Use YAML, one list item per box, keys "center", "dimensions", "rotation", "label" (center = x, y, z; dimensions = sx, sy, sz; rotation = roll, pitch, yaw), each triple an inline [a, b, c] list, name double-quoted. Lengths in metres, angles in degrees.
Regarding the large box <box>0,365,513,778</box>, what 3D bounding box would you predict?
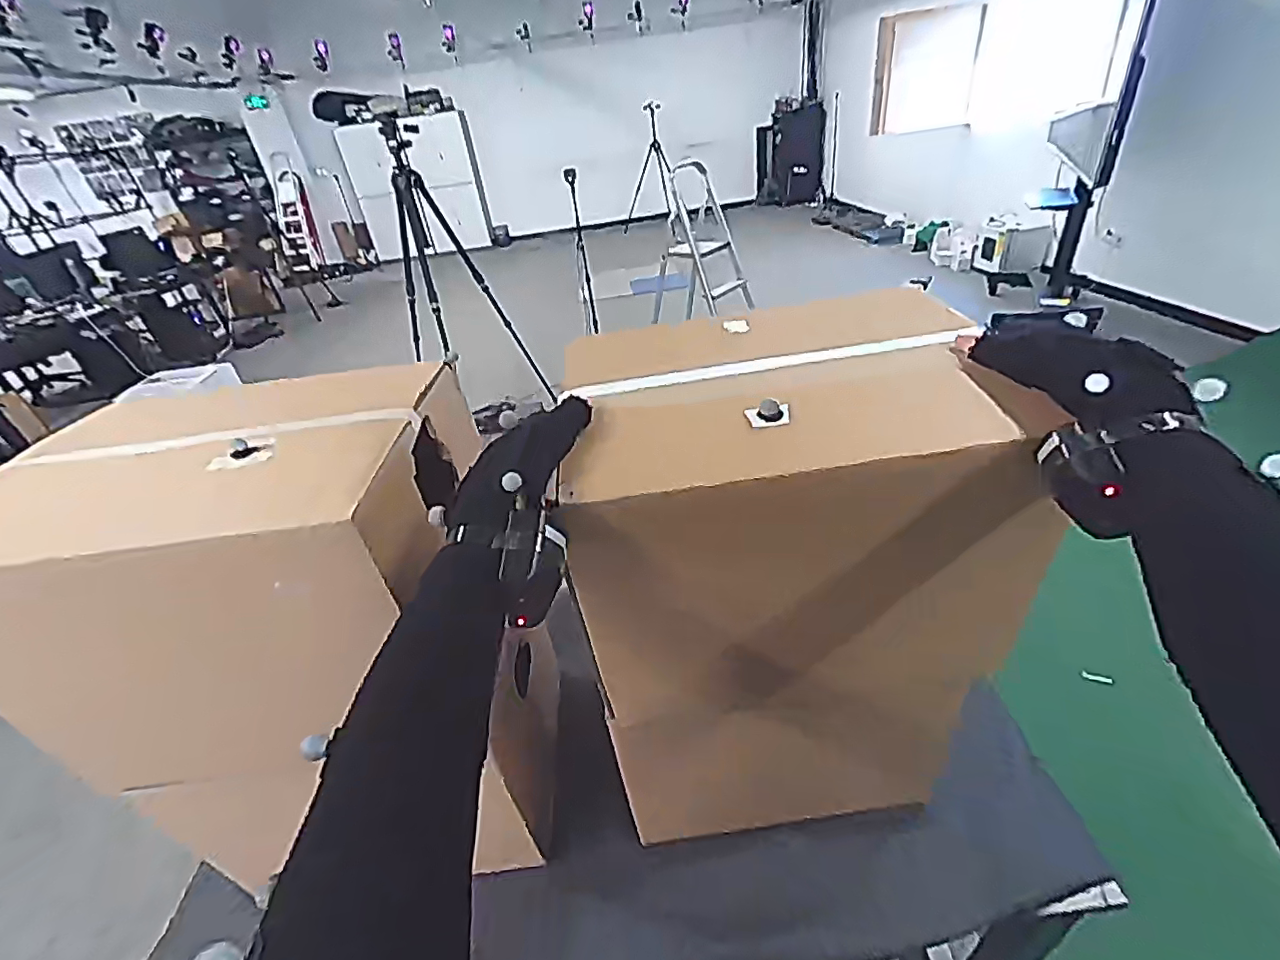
- center: [-0.392, 0.089, 0.612]
  dimensions: [0.408, 0.320, 0.320]
  rotation: [-6, 35, 0]
  label: "large box"
